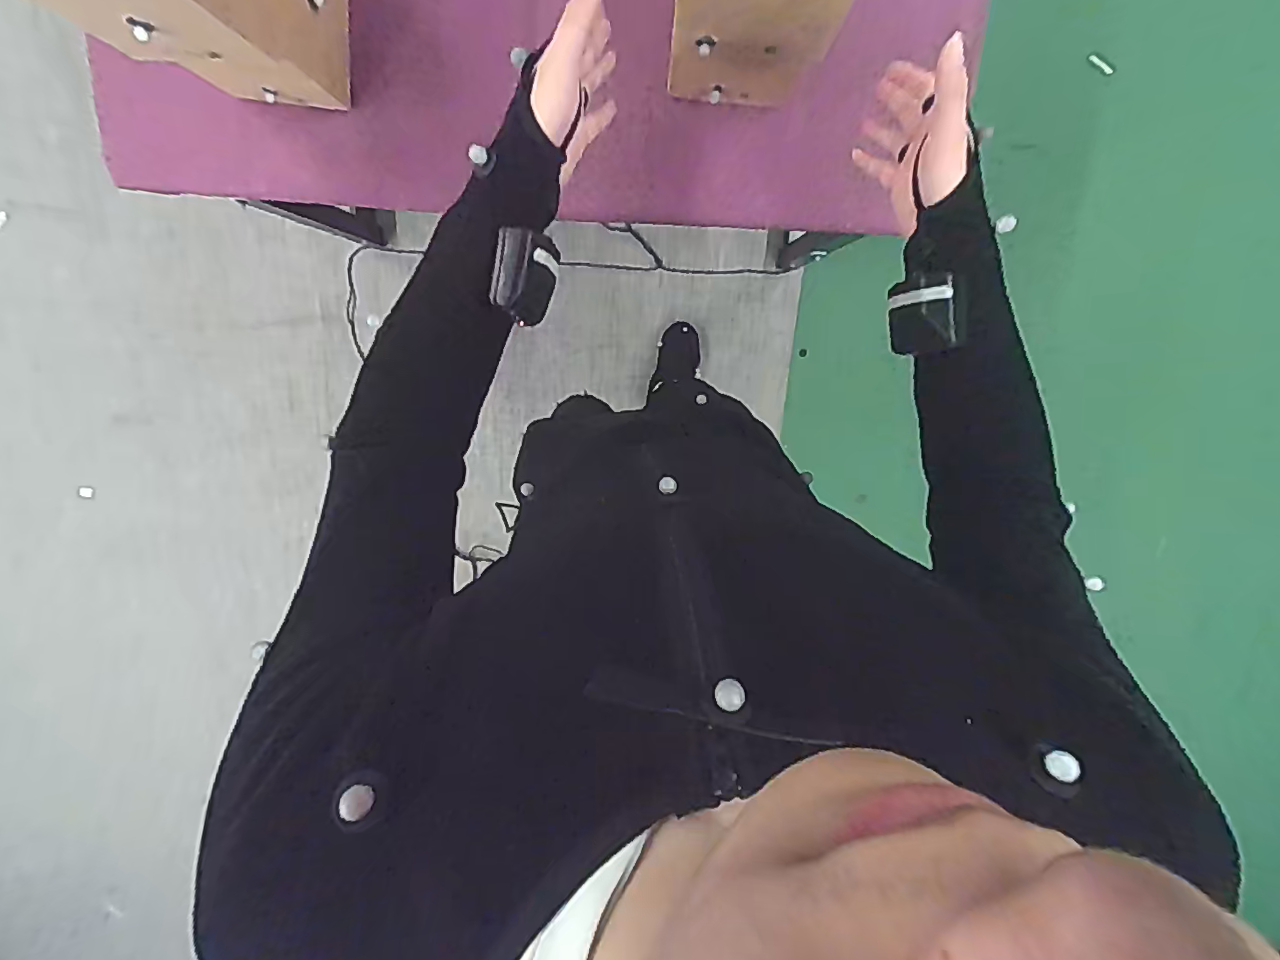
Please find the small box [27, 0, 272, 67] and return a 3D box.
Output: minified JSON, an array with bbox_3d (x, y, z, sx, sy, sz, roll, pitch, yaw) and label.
[{"bbox_3d":[-0.479,-0.522,0.503,0.168,0.176,0.179,3,105,-2],"label":"small box"}]
